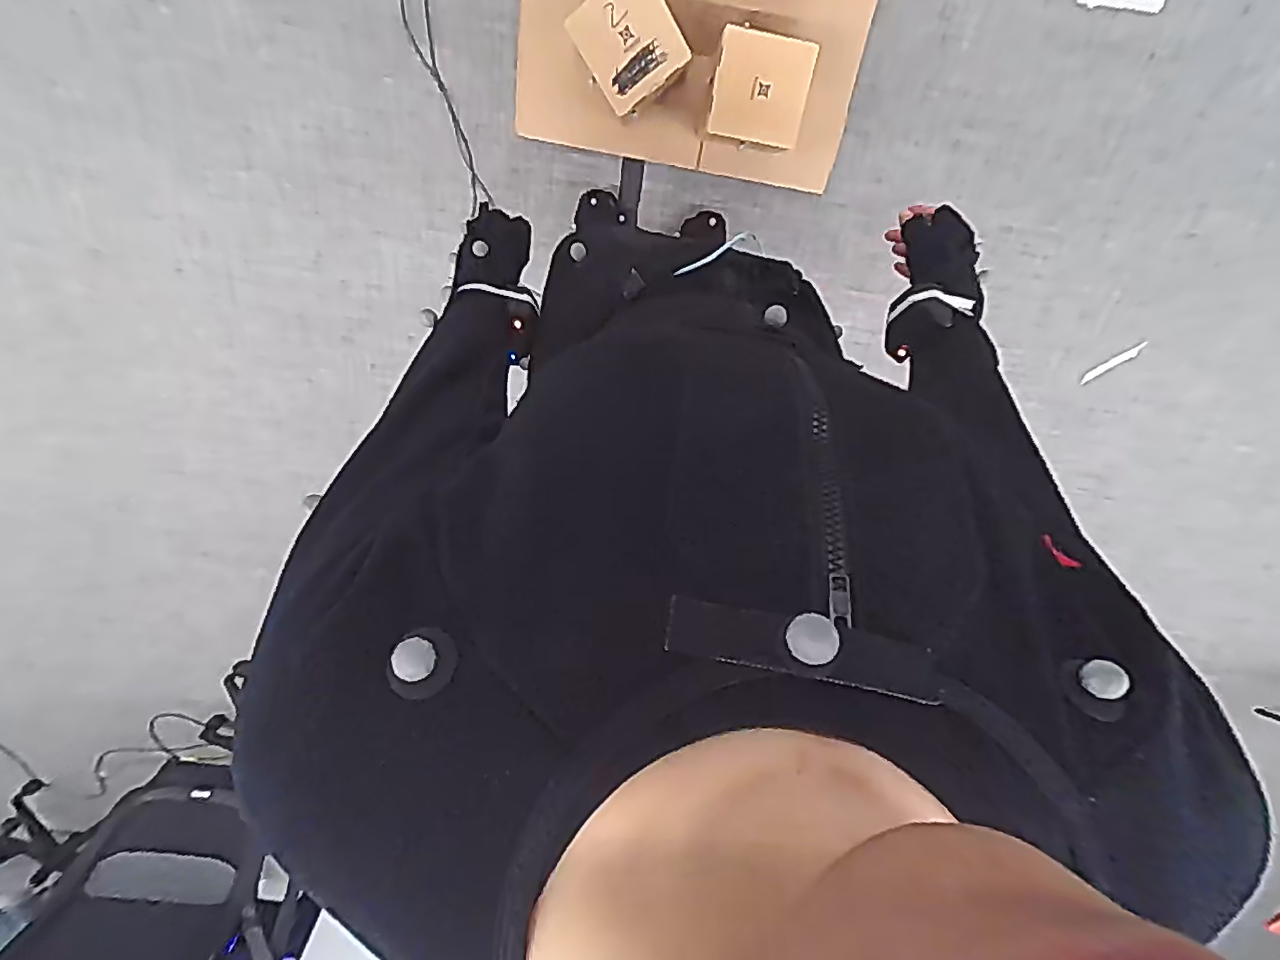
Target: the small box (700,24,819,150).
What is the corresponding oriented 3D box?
[{"bbox_3d":[0.224,-0.765,1.072,0.179,0.176,0.168,10,119,-4],"label":"small box"}]
